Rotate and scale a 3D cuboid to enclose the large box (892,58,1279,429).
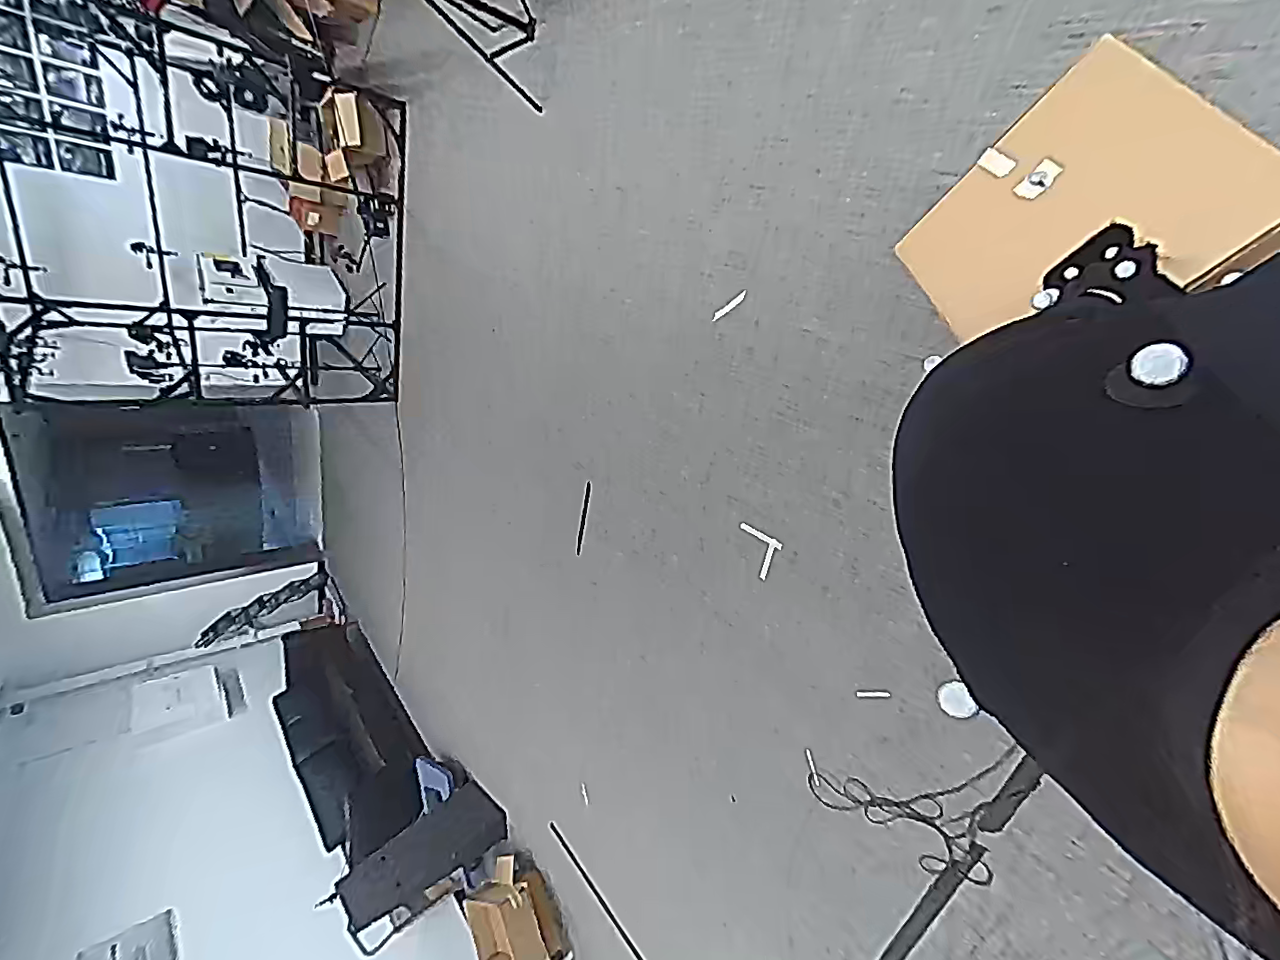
[{"bbox_3d":[0.668,-0.304,0.790,0.320,0.408,0.320,-48,50,43],"label":"large box"}]
